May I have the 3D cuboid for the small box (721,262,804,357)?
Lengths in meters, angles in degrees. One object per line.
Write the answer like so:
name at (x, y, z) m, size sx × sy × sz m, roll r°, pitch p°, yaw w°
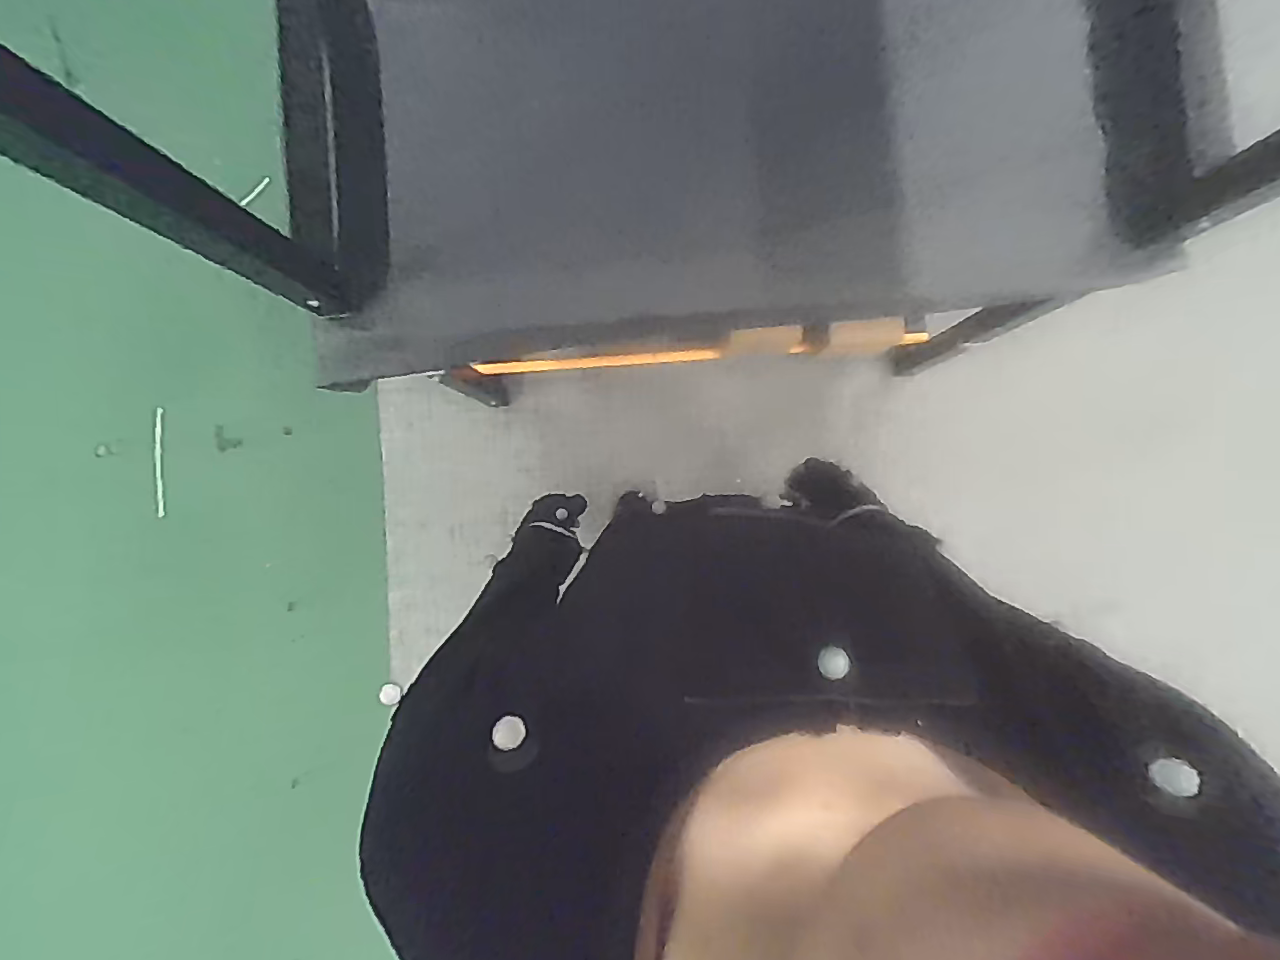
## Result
small box at (0.287, -0.397, 1.291) m, size 0.168 × 0.176 × 0.179 m, roll -4°, pitch 89°, yaw 3°
